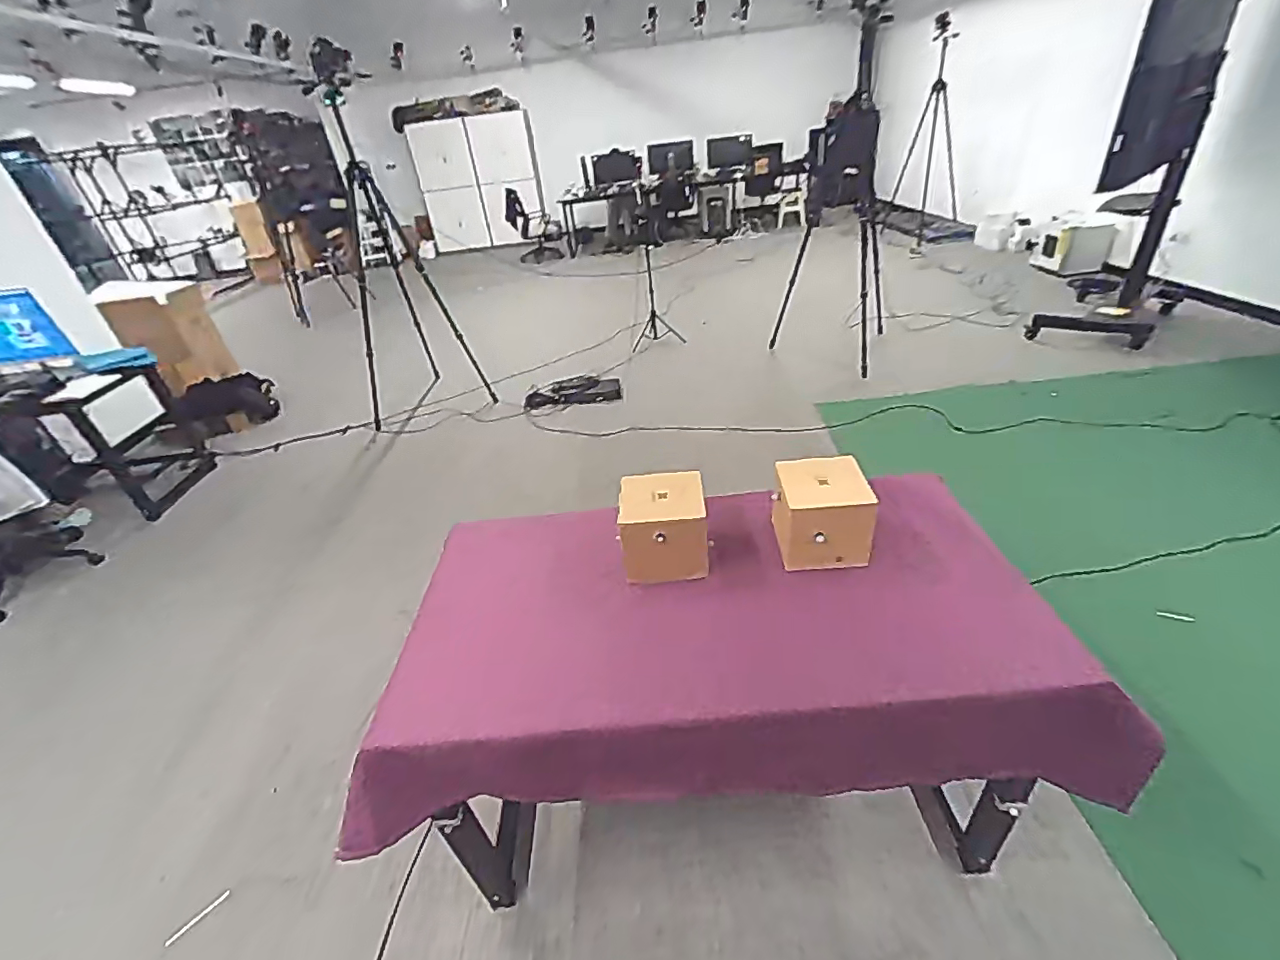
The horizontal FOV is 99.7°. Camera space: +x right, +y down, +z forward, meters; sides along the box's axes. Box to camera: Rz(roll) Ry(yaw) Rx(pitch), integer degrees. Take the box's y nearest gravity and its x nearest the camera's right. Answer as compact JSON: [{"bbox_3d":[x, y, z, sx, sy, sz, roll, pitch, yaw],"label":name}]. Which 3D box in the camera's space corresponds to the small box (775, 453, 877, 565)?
[{"bbox_3d":[0.382,0.064,1.134,0.168,0.176,0.179,-5,33,6],"label":"small box"}]

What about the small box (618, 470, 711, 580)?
[{"bbox_3d":[0.056,0.098,1.157,0.179,0.176,0.168,-4,34,5],"label":"small box"}]
